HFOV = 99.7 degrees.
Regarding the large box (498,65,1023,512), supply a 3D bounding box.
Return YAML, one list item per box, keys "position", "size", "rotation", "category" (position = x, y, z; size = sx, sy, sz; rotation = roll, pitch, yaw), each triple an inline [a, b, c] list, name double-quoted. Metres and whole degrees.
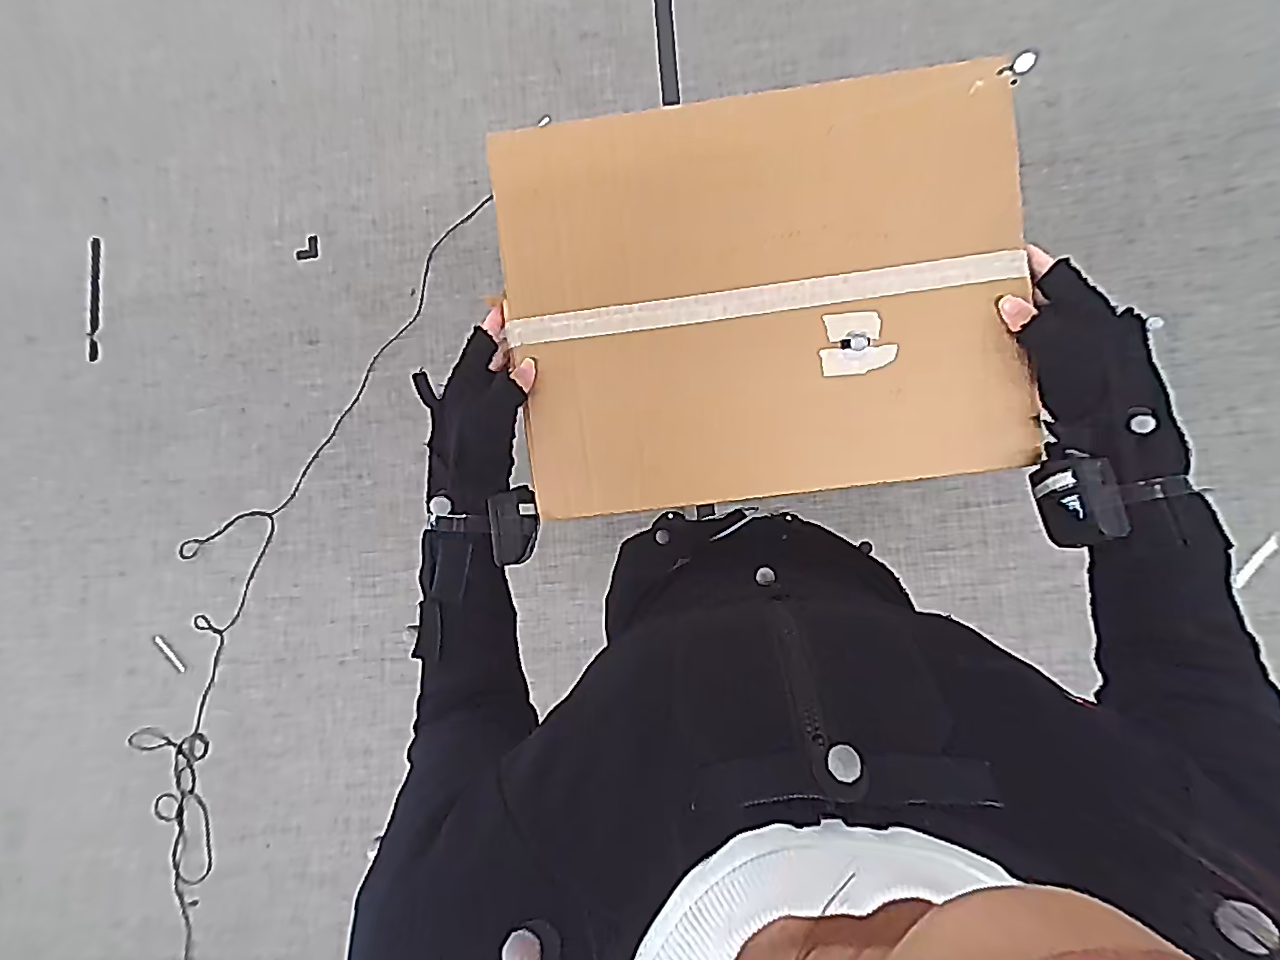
- position: [0.101, -0.159, 0.590]
  size: [0.408, 0.320, 0.320]
  rotation: [-7, 94, 2]
  category: "large box"
